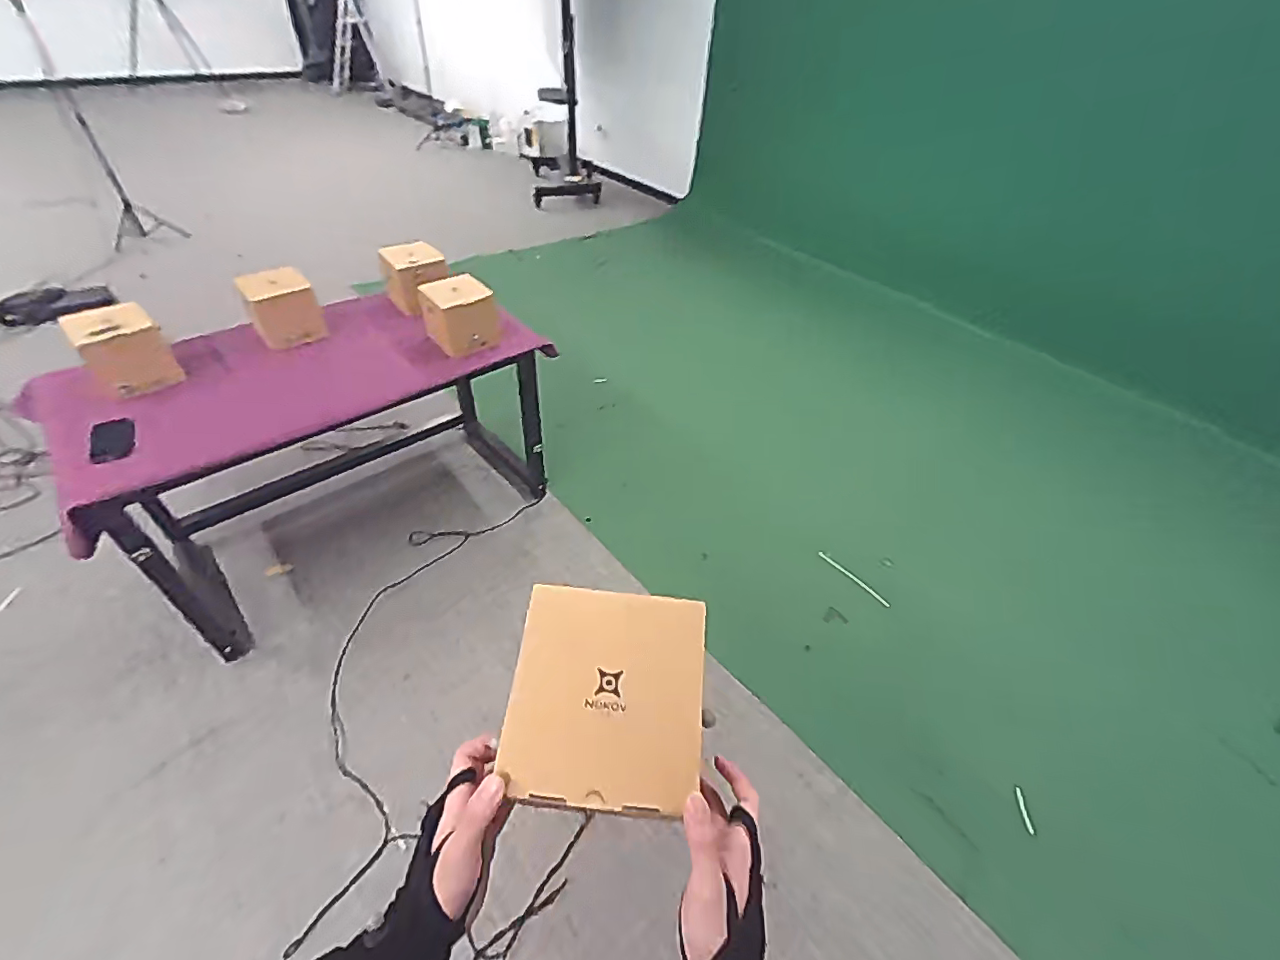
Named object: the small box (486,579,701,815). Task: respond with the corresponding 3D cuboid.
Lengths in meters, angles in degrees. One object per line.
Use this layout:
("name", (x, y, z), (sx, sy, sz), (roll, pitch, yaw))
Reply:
("small box", (-0.037, 0.217, 0.529), (0.168, 0.176, 0.179), (6, 58, 0))

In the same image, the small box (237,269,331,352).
("small box", (-1.072, -0.512, 1.637), (0.168, 0.176, 0.179), (-30, 55, -31))

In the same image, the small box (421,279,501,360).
("small box", (-0.549, -0.496, 1.671), (0.168, 0.176, 0.179), (-28, 53, -29))

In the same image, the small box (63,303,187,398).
("small box", (-1.340, -0.336, 1.417), (0.179, 0.176, 0.168), (36, 50, 28))

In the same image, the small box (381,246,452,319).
("small box", (-0.752, -0.672, 1.841), (0.168, 0.176, 0.179), (-27, 52, -29))
